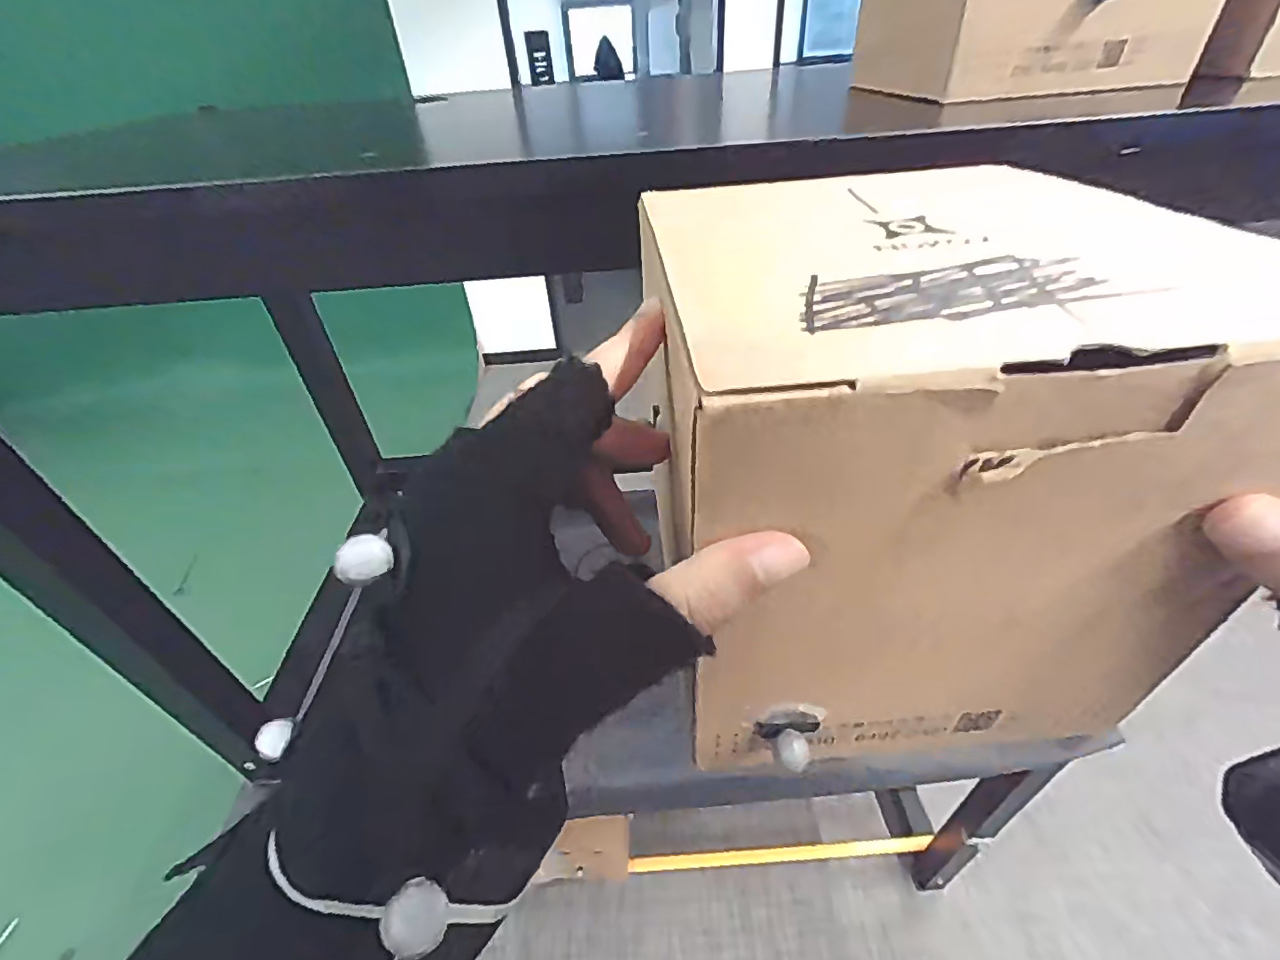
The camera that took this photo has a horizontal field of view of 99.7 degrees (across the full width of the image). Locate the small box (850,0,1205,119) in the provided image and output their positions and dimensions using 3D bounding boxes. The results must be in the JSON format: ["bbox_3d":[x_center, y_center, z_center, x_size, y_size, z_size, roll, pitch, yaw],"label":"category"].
[{"bbox_3d":[0.268,-0.366,0.386,0.168,0.176,0.179,-5,39,0],"label":"small box"}]
